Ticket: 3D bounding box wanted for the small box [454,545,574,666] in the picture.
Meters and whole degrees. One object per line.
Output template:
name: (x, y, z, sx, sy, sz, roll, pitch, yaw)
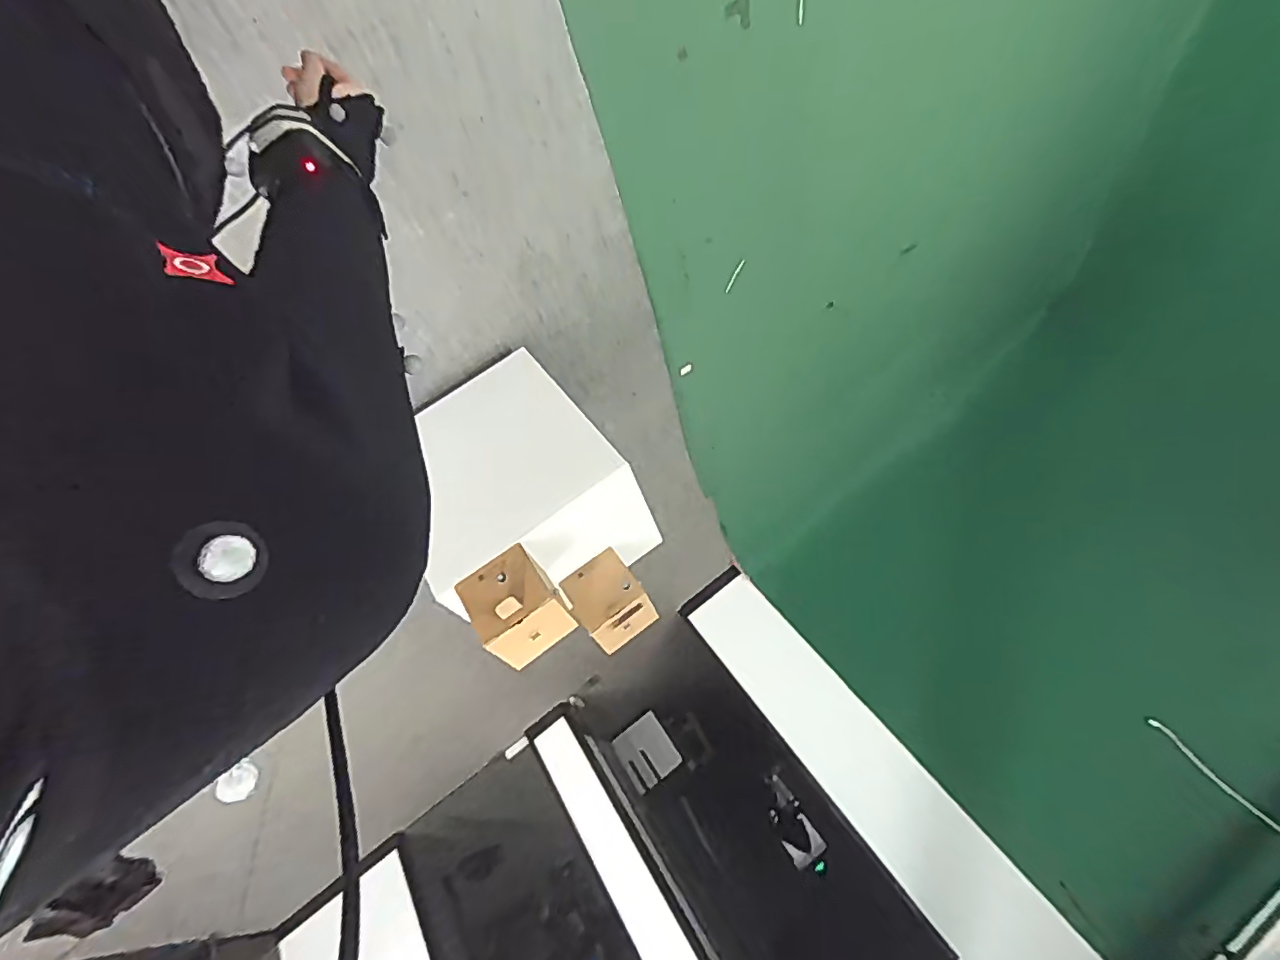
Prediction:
small box: (-0.272, 0.271, 1.180, 0.168, 0.176, 0.179, -35, 146, -10)
